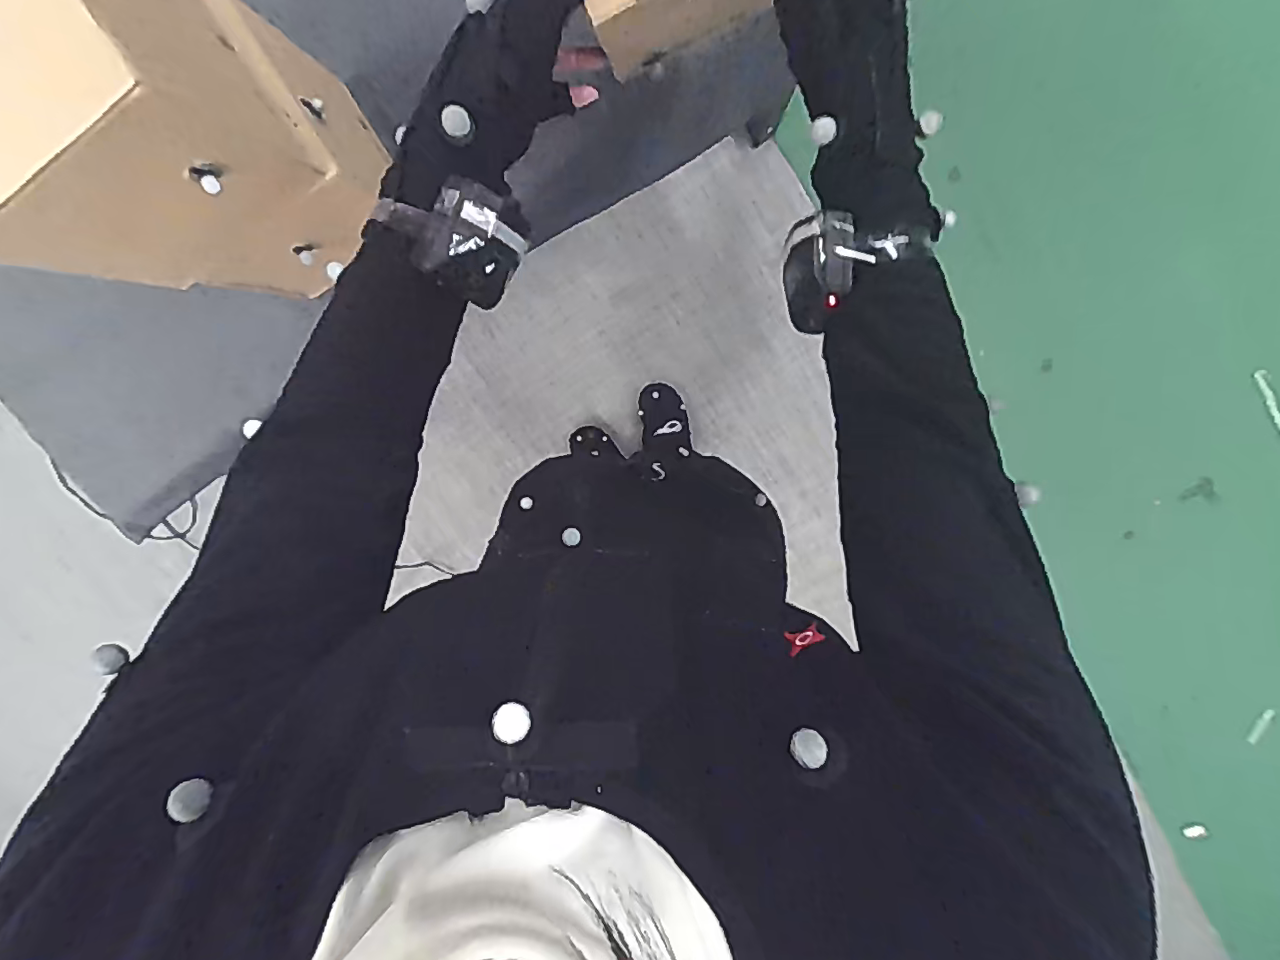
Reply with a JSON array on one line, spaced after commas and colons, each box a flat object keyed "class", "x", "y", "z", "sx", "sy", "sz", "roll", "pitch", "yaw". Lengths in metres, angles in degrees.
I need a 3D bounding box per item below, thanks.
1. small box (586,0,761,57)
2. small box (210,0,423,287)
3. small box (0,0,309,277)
[{"class": "small box", "x": 0.021, "y": -0.417, "z": 0.352, "sx": 0.168, "sy": 0.176, "sz": 0.179, "roll": -19, "pitch": 112, "yaw": 13}, {"class": "small box", "x": -0.362, "y": -0.317, "z": 0.548, "sx": 0.179, "sy": 0.176, "sz": 0.168, "roll": -29, "pitch": 99, "yaw": 11}, {"class": "small box", "x": -0.386, "y": -0.274, "z": 0.393, "sx": 0.179, "sy": 0.176, "sz": 0.168, "roll": -31, "pitch": 98, "yaw": 12}]
